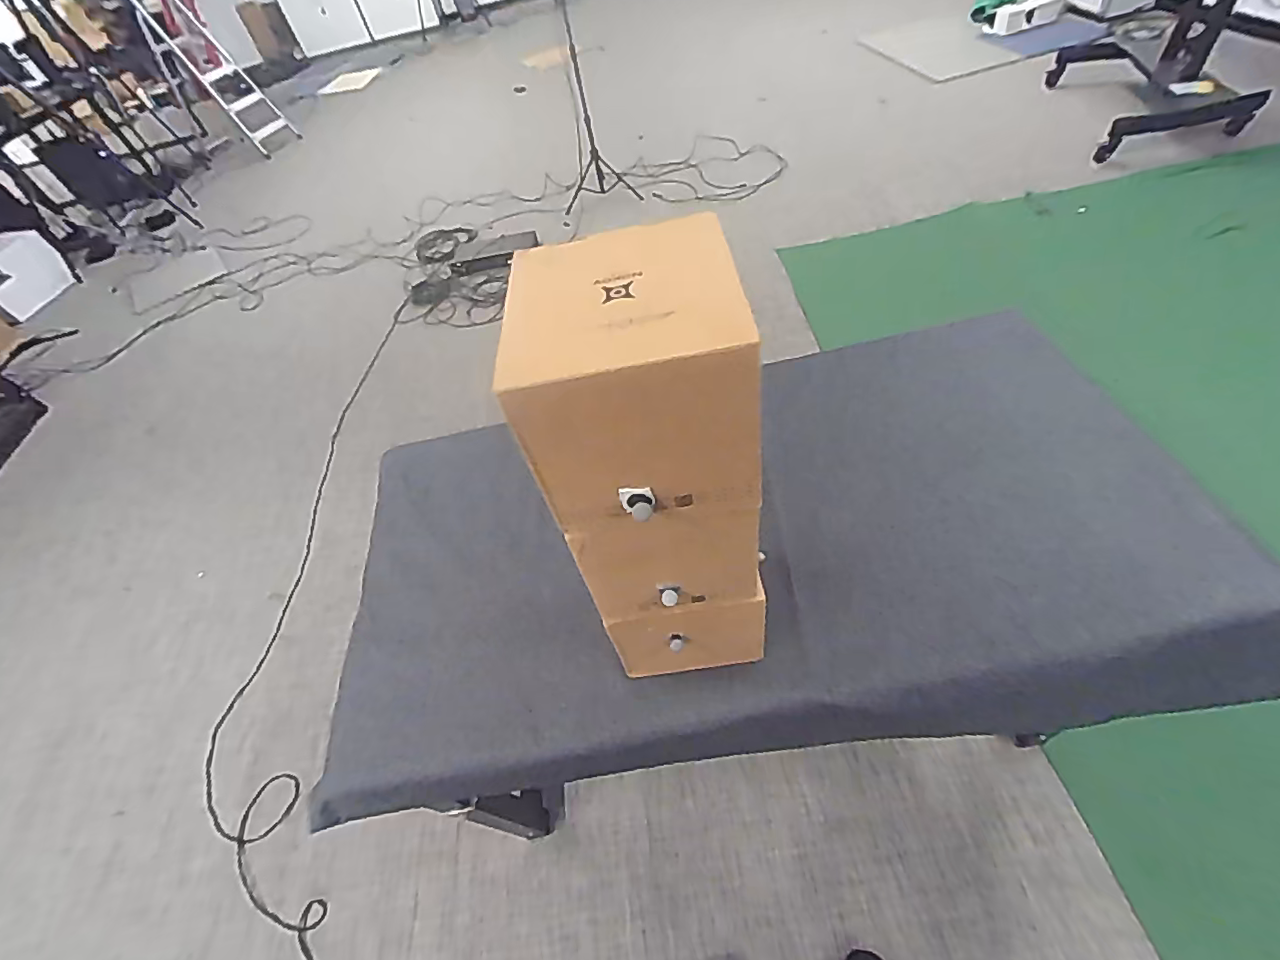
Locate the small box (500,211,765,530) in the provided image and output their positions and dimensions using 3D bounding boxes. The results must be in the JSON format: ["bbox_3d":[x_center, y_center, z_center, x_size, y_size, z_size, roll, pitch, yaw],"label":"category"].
[{"bbox_3d":[0.002,-0.084,0.440,0.168,0.176,0.179,-9,51,6],"label":"small box"}]

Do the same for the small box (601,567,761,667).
[{"bbox_3d":[0.052,0.123,0.687,0.179,0.176,0.168,-9,50,5],"label":"small box"}]

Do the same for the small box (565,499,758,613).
[{"bbox_3d":[0.023,0.016,0.565,0.168,0.176,0.179,-9,50,4],"label":"small box"}]
